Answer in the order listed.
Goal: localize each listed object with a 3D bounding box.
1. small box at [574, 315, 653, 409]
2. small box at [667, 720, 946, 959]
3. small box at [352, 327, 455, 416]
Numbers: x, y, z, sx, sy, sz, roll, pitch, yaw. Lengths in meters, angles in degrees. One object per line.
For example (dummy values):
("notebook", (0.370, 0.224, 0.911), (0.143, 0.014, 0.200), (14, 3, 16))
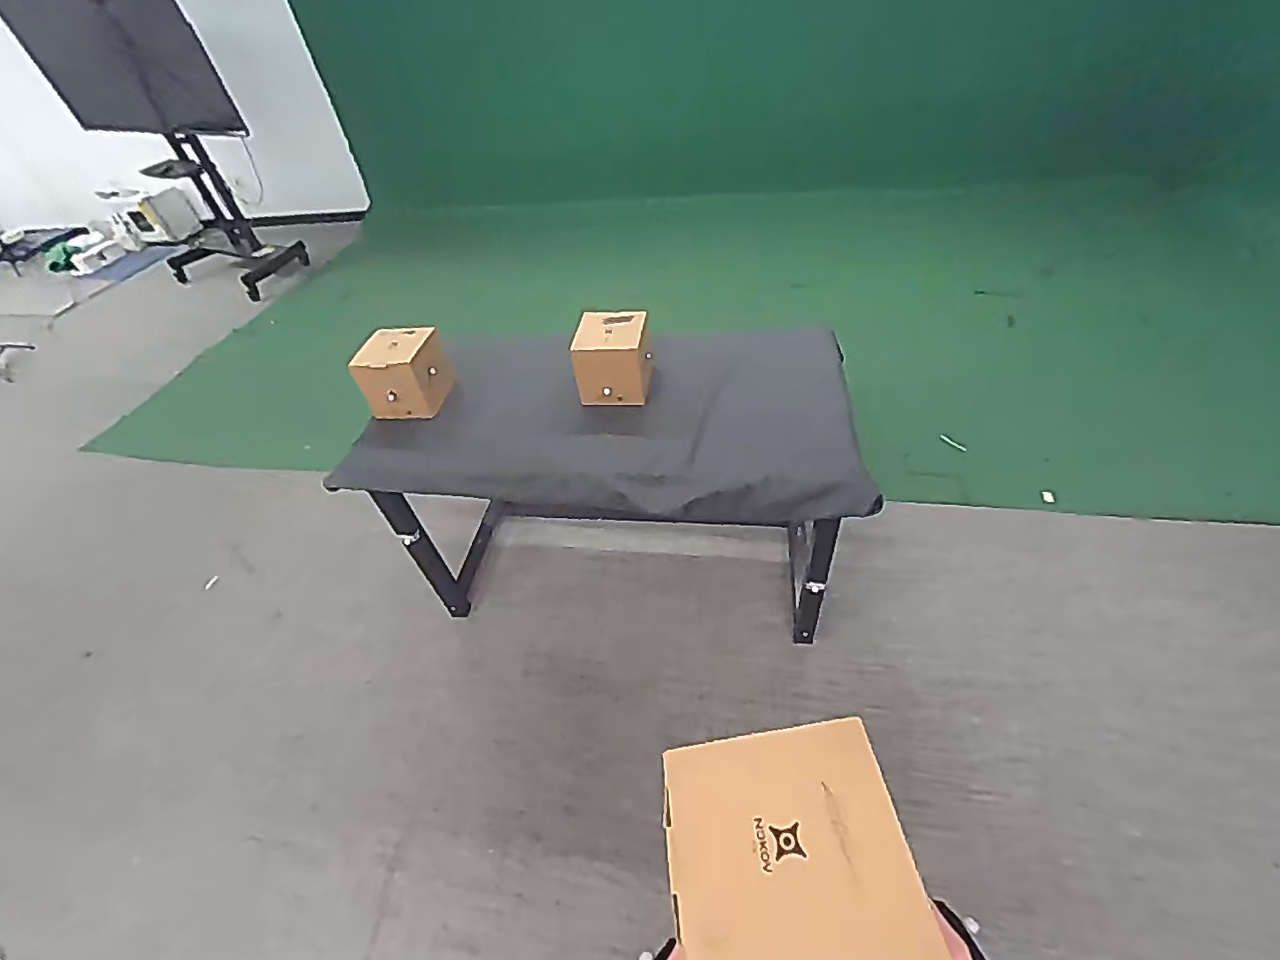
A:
("small box", (-0.060, -0.302, 1.381), (0.168, 0.176, 0.179), (2, 47, 9))
("small box", (0.131, 0.338, 0.468), (0.179, 0.176, 0.168), (-13, 40, 6))
("small box", (-0.610, -0.283, 1.426), (0.168, 0.176, 0.179), (1, 46, 7))
